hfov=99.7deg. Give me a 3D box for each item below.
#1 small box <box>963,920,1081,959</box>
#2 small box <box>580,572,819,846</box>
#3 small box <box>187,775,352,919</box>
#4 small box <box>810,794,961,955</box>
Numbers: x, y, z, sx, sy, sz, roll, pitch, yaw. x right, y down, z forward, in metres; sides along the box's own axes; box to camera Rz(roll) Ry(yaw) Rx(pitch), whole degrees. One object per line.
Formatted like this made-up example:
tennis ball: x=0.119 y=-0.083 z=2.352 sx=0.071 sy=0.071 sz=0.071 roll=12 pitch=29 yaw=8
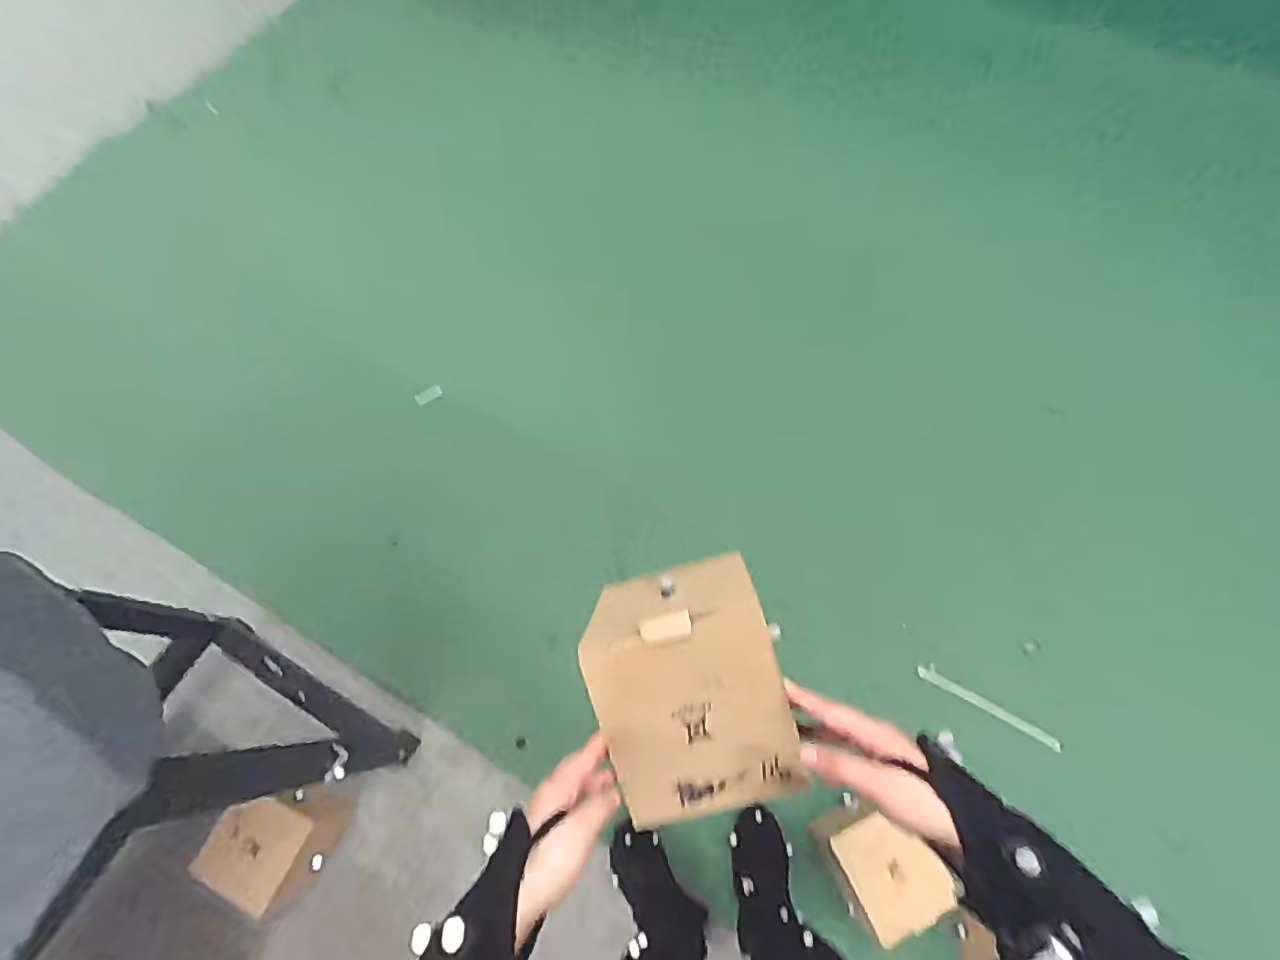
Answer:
small box: x=0.689 y=0.912 z=0.947 sx=0.179 sy=0.176 sz=0.168 roll=12 pitch=69 yaw=6
small box: x=0.054 y=0.202 z=0.528 sx=0.168 sy=0.176 sz=0.179 roll=-16 pitch=95 yaw=6
small box: x=-0.724 y=0.715 z=1.081 sx=0.179 sy=0.176 sz=0.168 roll=23 pitch=70 yaw=10
small box: x=0.453 y=0.733 z=1.030 sx=0.168 sy=0.176 sz=0.179 roll=-24 pitch=68 yaw=-8
